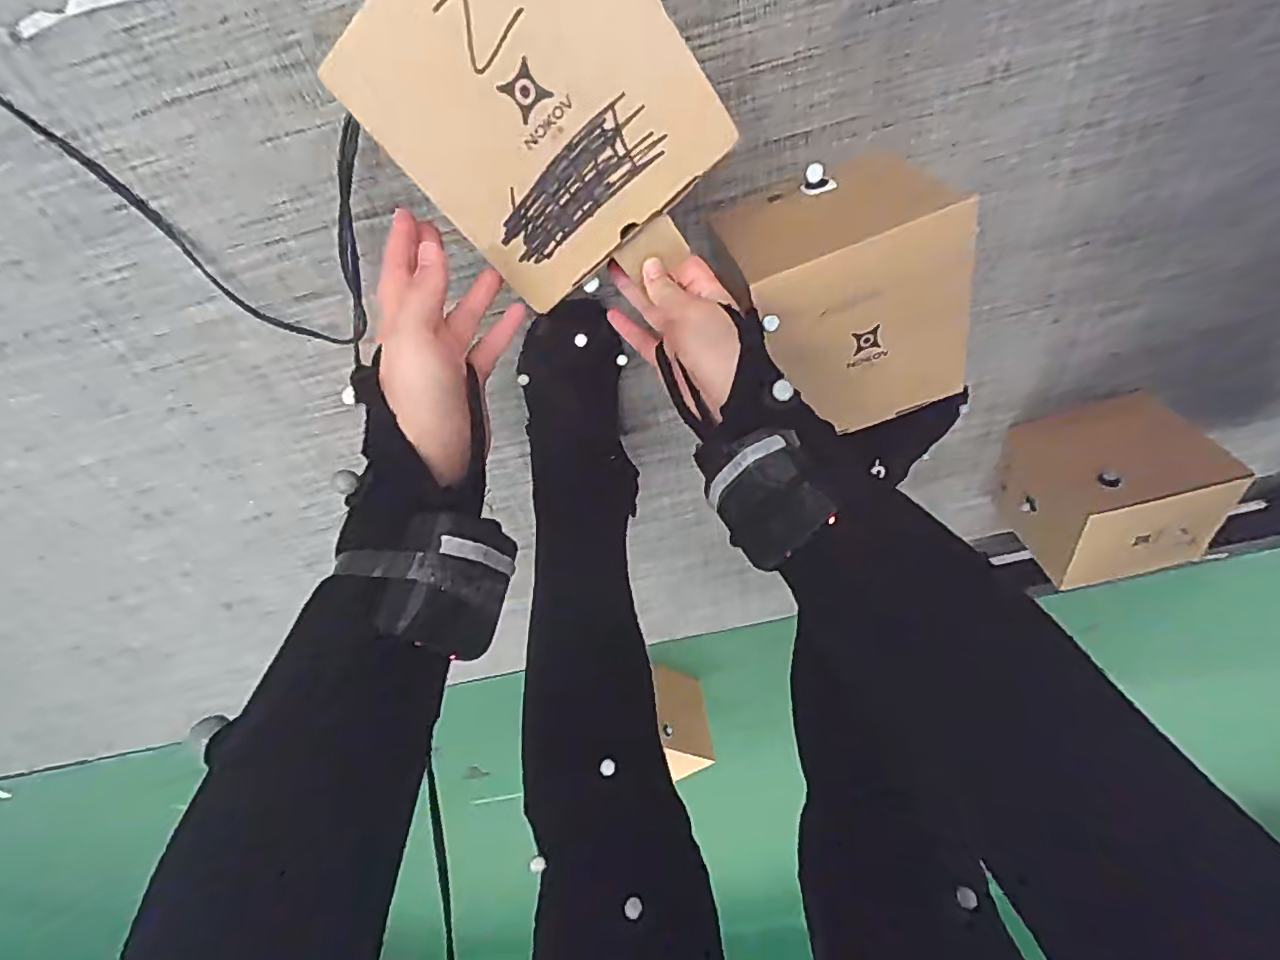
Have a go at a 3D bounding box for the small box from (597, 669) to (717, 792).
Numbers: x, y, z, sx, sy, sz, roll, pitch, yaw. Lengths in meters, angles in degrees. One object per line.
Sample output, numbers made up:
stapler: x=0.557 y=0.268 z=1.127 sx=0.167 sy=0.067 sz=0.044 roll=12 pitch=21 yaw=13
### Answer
small box: x=0.028 y=0.506 z=1.098 sx=0.179 sy=0.176 sz=0.168 roll=31 pitch=122 yaw=-29

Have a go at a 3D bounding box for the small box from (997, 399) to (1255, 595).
small box: x=0.613 y=0.021 z=0.718 sx=0.179 sy=0.176 sz=0.168 roll=-17 pitch=133 yaw=9
